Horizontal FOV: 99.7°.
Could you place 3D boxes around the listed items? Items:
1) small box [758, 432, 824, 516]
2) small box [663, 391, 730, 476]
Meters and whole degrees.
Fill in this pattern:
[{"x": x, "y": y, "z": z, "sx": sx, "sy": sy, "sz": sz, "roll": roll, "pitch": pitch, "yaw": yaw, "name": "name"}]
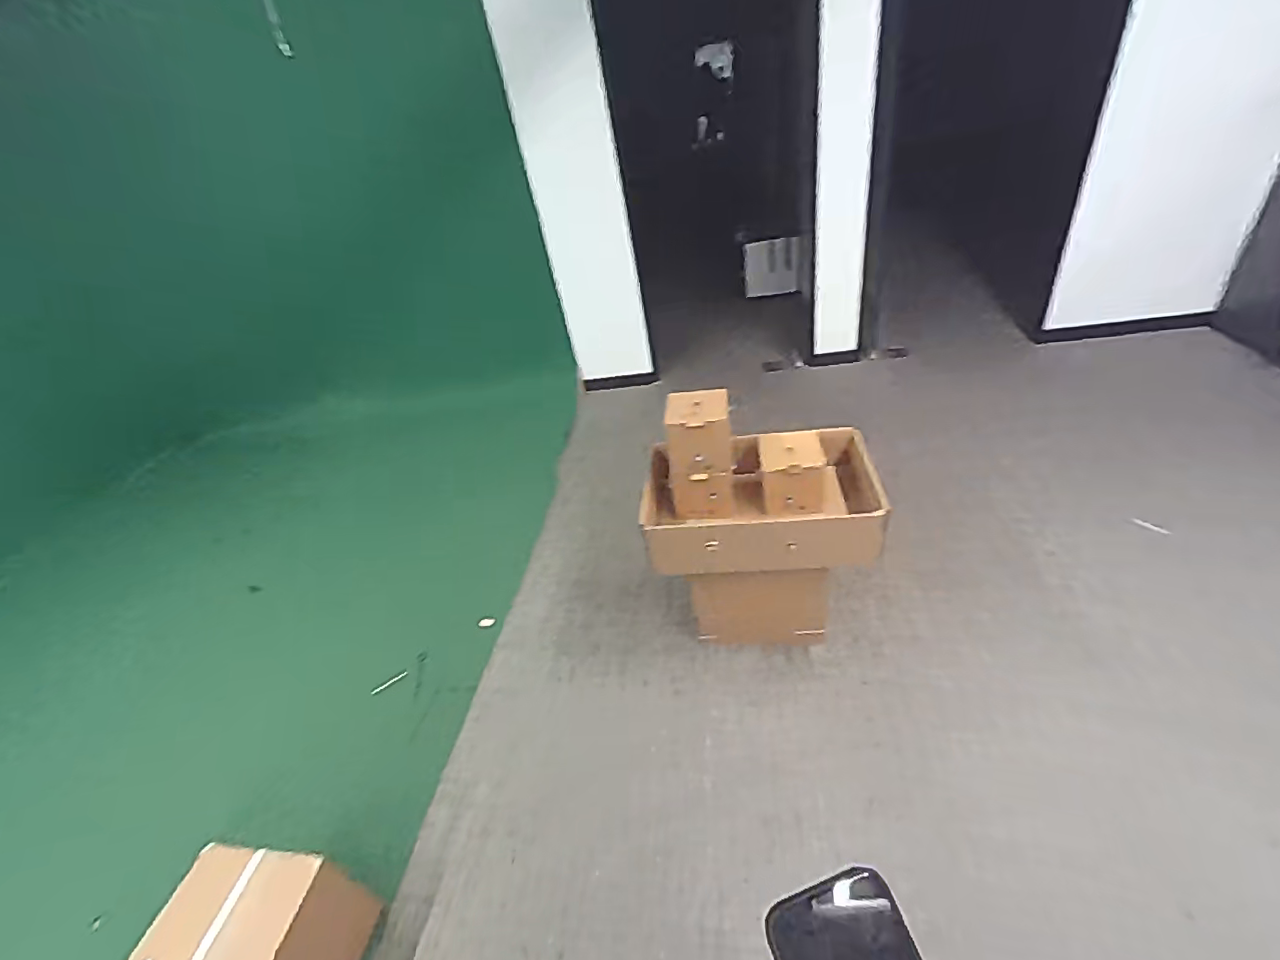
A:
[{"x": 0.432, "y": -0.016, "z": 1.560, "sx": 0.168, "sy": 0.176, "sz": 0.179, "roll": -6, "pitch": 37, "yaw": 11, "name": "small box"}, {"x": 0.161, "y": -0.130, "z": 1.514, "sx": 0.168, "sy": 0.176, "sz": 0.179, "roll": -4, "pitch": 37, "yaw": 11, "name": "small box"}]
